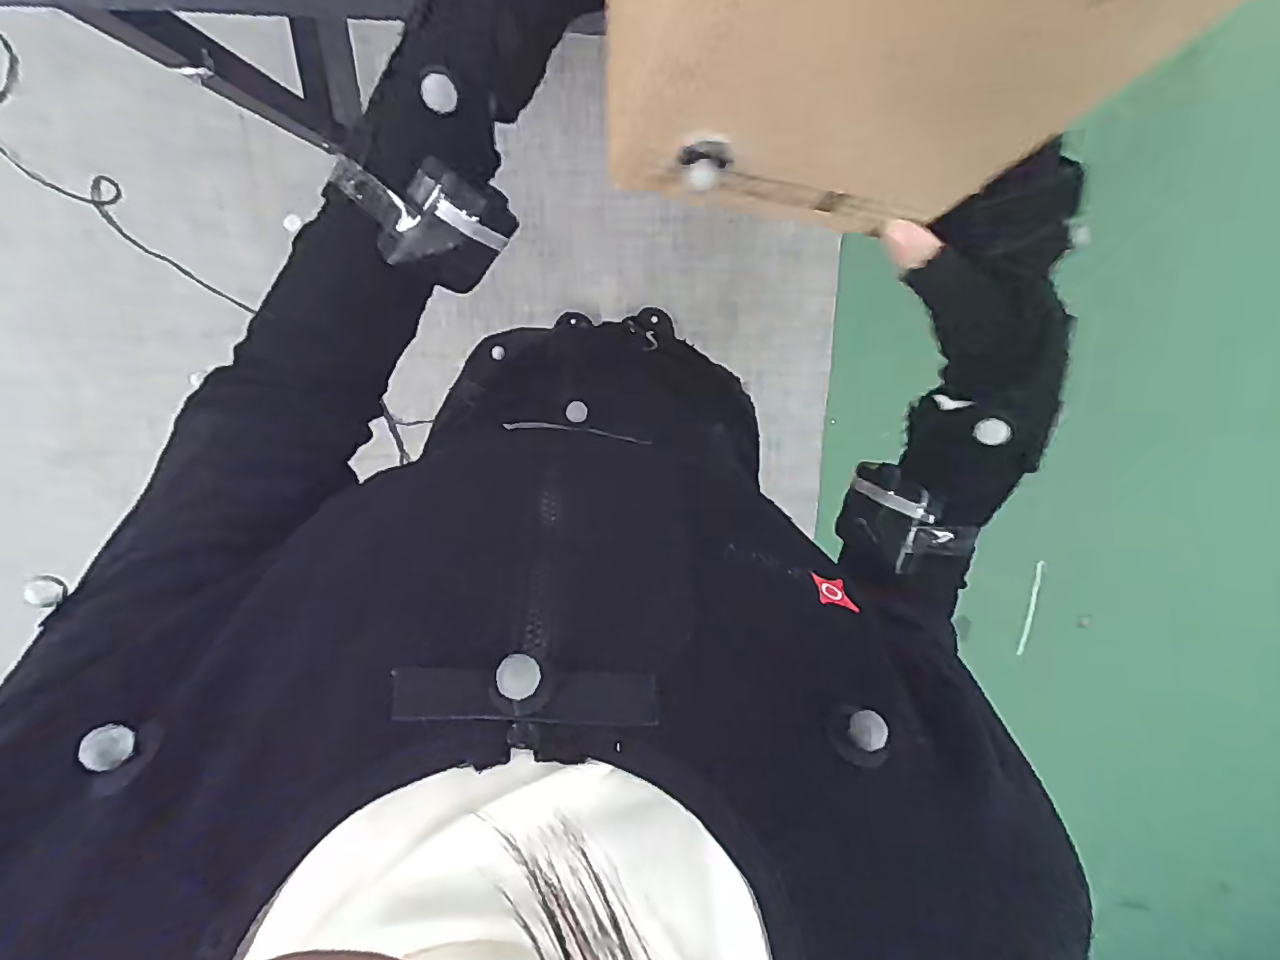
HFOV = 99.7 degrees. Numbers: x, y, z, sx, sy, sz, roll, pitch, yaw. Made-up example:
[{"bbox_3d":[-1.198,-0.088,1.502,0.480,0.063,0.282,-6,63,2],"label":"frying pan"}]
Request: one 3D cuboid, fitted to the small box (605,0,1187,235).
[{"bbox_3d":[0.086,-0.228,0.213,0.168,0.176,0.179,2,83,-18],"label":"small box"}]
